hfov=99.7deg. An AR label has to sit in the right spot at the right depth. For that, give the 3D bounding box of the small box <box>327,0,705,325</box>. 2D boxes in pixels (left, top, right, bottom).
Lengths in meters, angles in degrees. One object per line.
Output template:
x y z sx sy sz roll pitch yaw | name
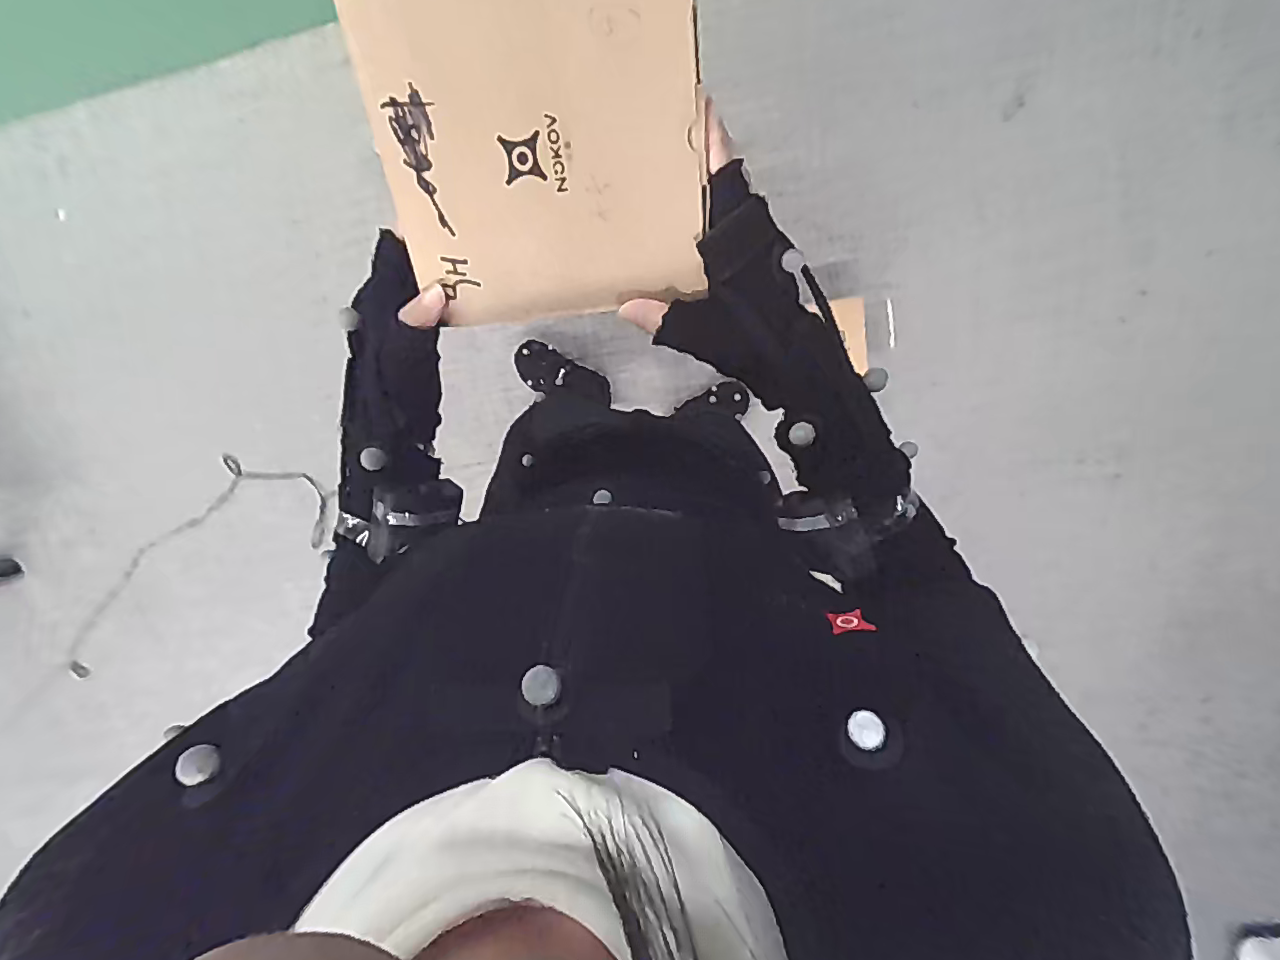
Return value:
-0.054 -0.213 0.362 0.179 0.176 0.168 -6 117 7 | small box
